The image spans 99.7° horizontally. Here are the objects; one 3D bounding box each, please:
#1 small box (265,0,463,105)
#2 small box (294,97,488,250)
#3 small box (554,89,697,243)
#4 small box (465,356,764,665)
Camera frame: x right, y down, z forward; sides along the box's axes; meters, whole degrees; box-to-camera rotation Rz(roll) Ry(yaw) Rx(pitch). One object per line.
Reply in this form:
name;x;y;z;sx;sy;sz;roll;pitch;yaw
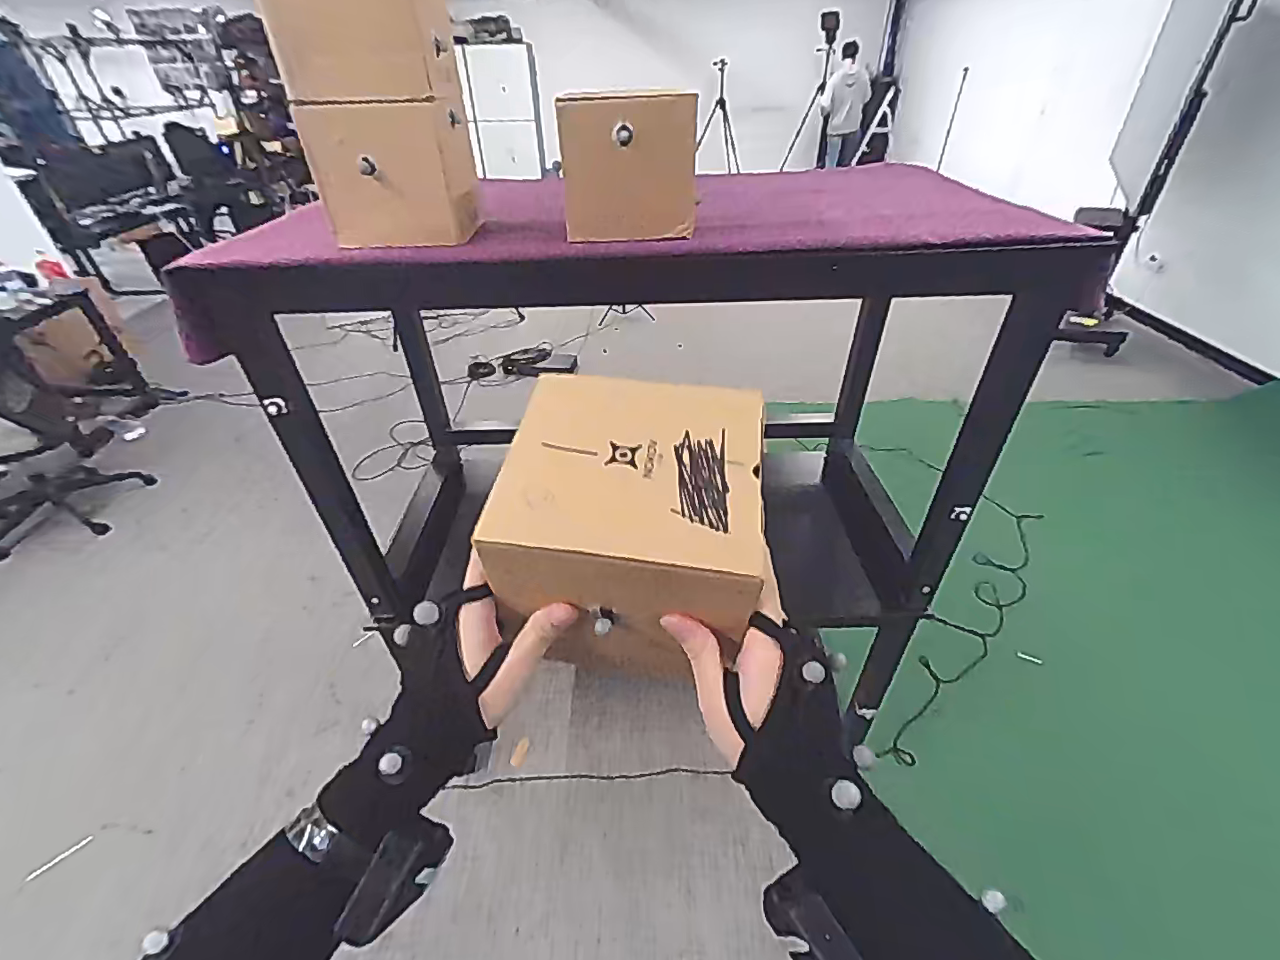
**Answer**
small box;-0.337;-0.564;0.666;0.179;0.176;0.168;-2;36;-2
small box;-0.331;-0.431;0.760;0.179;0.176;0.168;-3;37;0
small box;-0.015;-0.438;0.755;0.179;0.176;0.168;-2;37;0
small box;-0.006;0.028;0.421;0.179;0.176;0.168;6;49;6
